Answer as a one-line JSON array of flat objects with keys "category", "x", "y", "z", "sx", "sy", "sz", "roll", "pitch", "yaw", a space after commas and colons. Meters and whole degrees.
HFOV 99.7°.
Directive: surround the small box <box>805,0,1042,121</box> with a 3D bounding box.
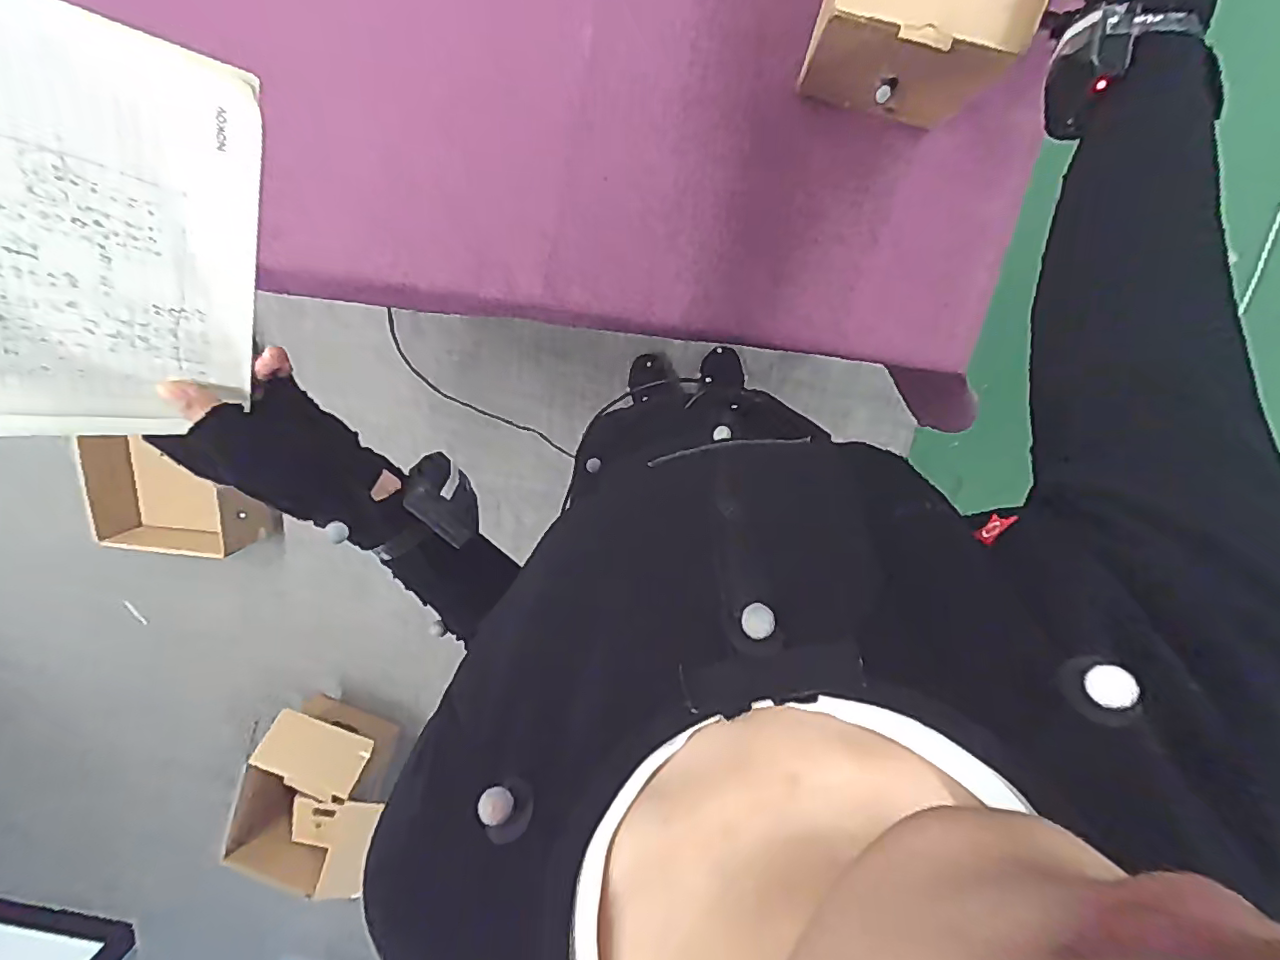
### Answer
[{"category": "small box", "x": 0.266, "y": -0.470, "z": 0.500, "sx": 0.168, "sy": 0.176, "sz": 0.179, "roll": 16, "pitch": 107, "yaw": 1}]
